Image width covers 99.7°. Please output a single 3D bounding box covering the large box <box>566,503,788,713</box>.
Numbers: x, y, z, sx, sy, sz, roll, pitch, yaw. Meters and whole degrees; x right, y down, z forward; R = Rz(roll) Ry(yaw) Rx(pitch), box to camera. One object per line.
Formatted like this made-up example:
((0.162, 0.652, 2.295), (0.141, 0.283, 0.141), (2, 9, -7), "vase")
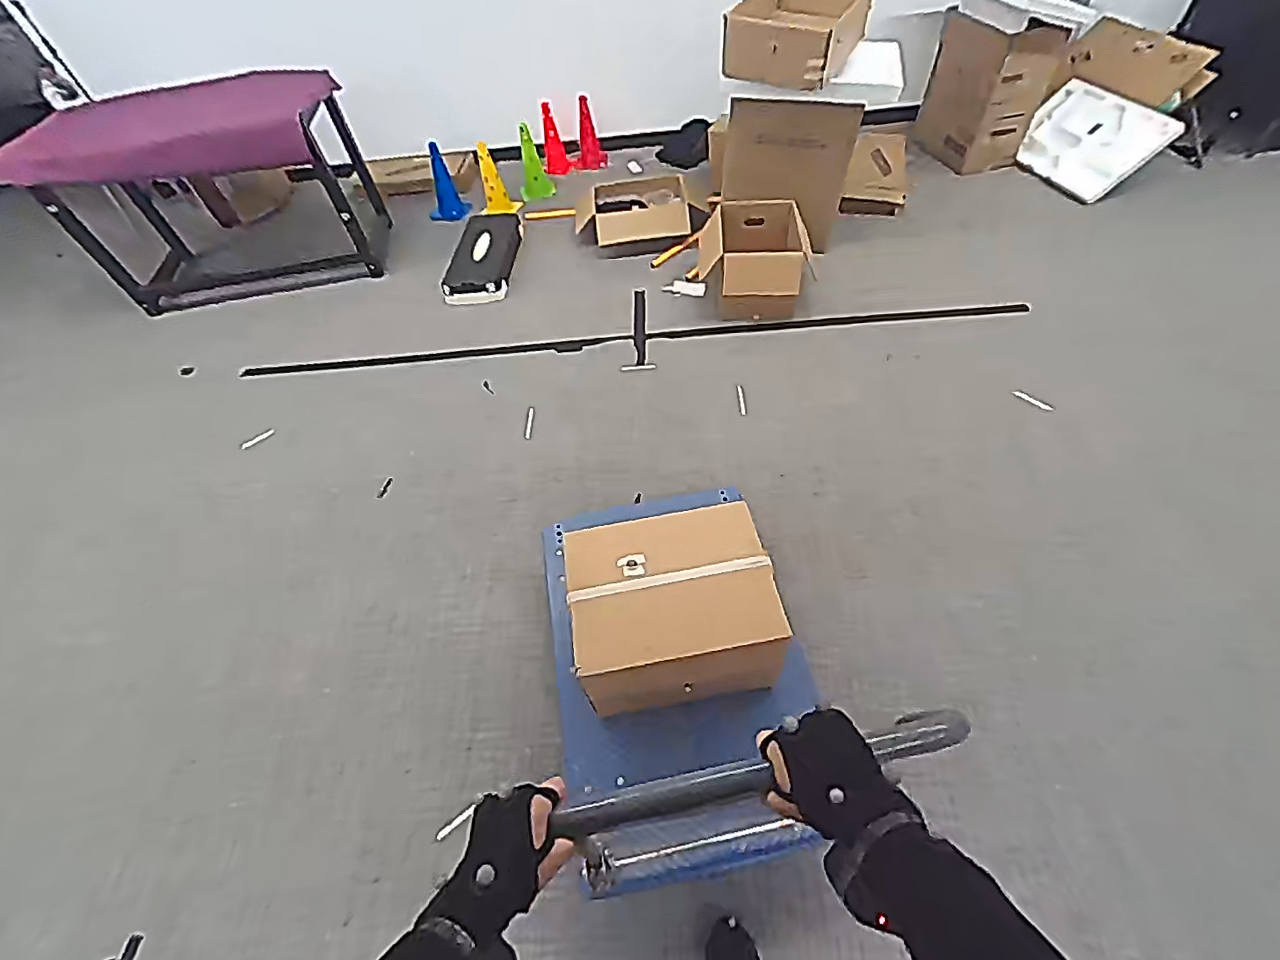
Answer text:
((0.074, 0.294, 1.213), (0.408, 0.320, 0.320), (-11, 52, -1), "large box")
